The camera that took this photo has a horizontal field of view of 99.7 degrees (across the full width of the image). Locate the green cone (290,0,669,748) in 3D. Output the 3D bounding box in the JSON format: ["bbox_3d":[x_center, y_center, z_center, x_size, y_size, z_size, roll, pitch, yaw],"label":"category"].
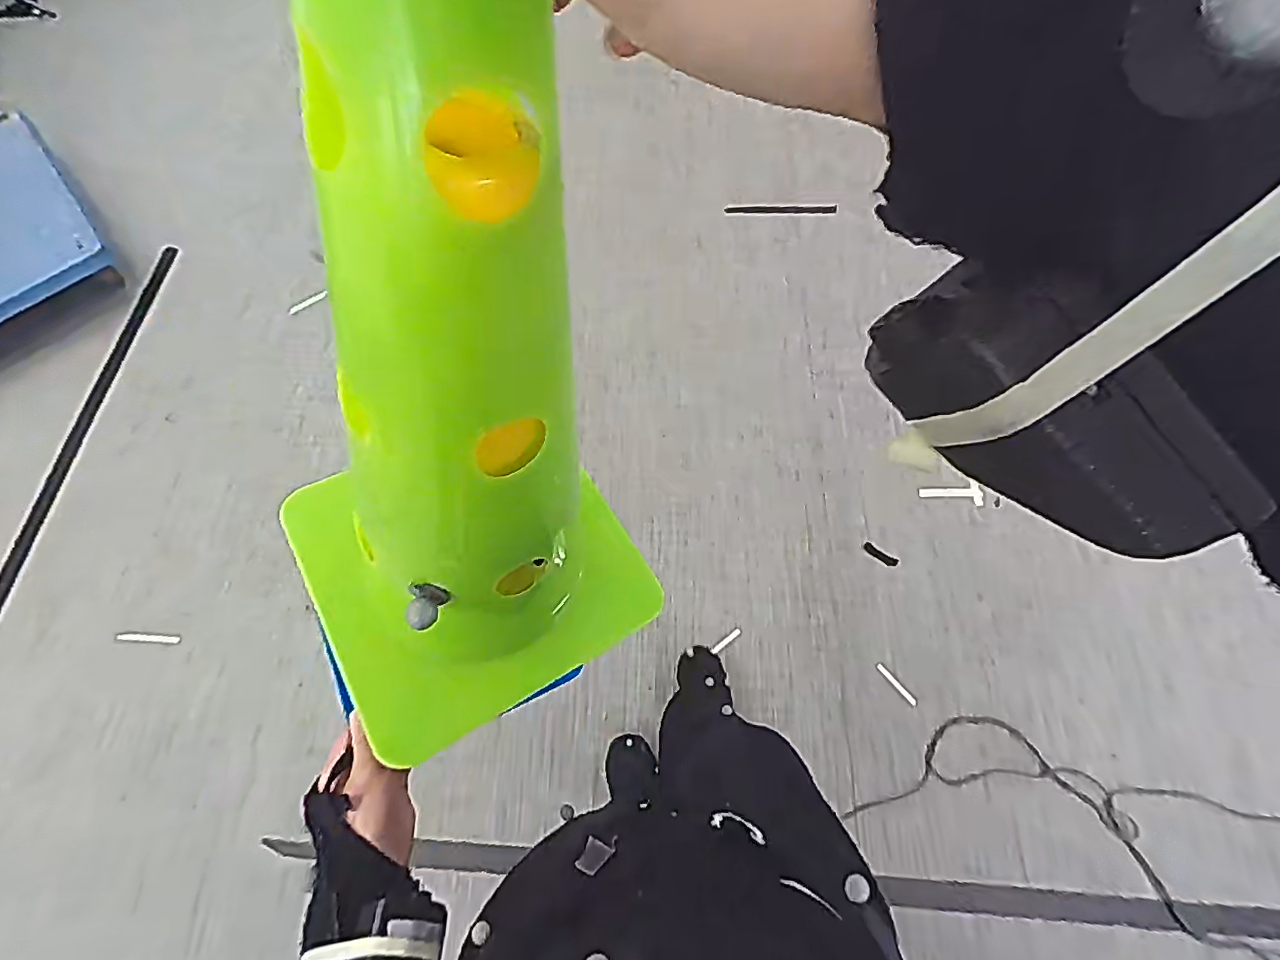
[{"bbox_3d":[-0.067,-0.048,0.223,0.200,0.368,0.202,-26,69,-26],"label":"green cone"}]
